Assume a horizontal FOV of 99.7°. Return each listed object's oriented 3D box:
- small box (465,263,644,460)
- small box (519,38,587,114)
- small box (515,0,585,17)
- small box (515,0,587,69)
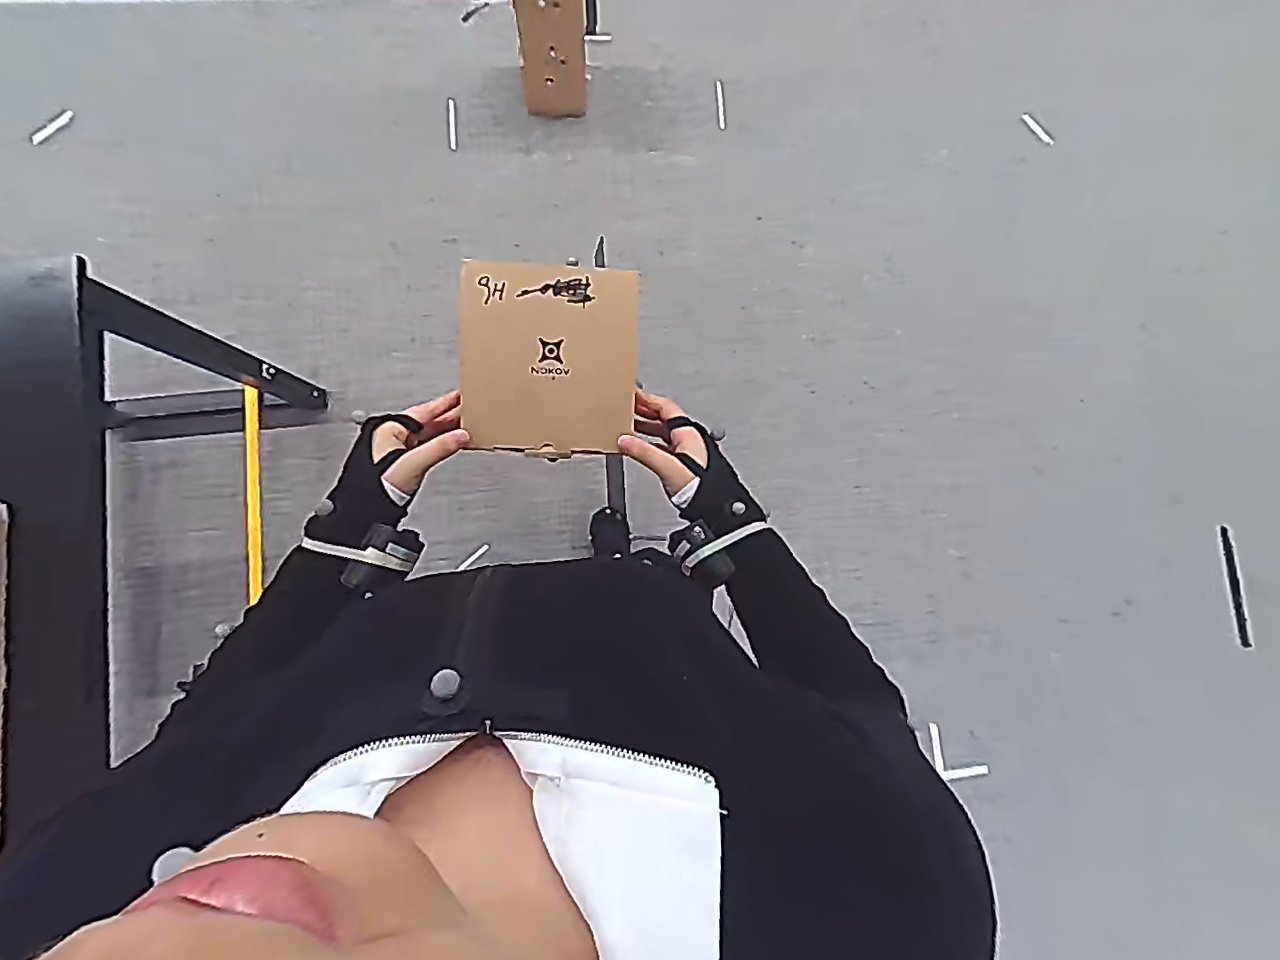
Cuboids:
[{"bbox_3d":[-0.088,-0.121,0.588,0.168,0.176,0.179,2,98,-6],"label":"small box"},{"bbox_3d":[-0.239,-1.169,1.522,0.179,0.176,0.168,0,86,-5],"label":"small box"},{"bbox_3d":[-0.206,-1.186,1.197,0.168,0.176,0.179,-1,87,-4],"label":"small box"},{"bbox_3d":[-0.220,-1.187,1.359,0.168,0.176,0.179,-1,86,-4],"label":"small box"}]
